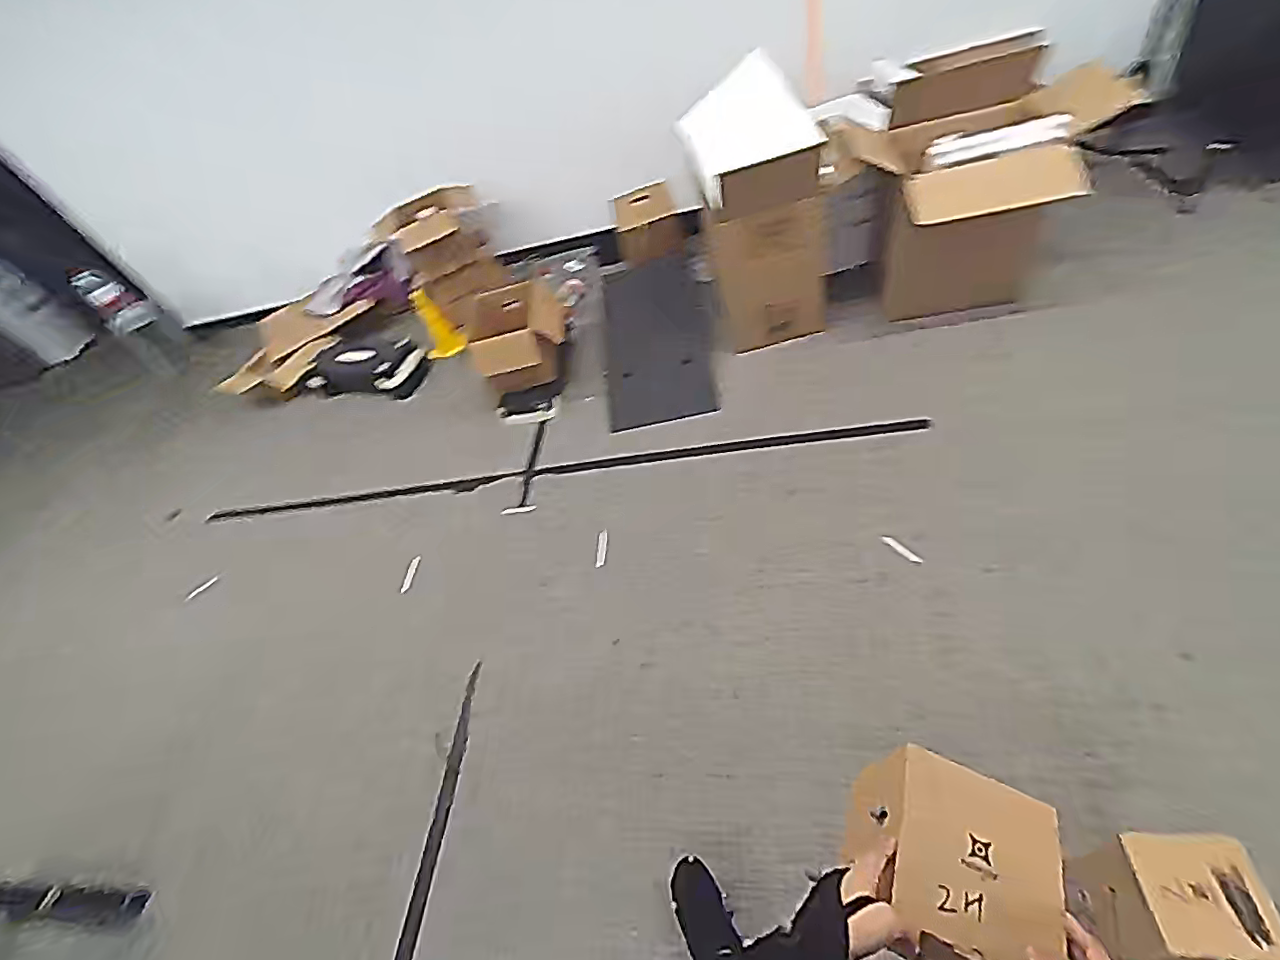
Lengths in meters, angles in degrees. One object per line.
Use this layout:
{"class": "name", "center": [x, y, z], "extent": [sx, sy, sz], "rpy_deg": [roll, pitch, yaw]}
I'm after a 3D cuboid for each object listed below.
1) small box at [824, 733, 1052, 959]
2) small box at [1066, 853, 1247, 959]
{"class": "small box", "center": [0.328, 0.433, 0.623], "extent": [0.168, 0.176, 0.179], "rpy_deg": [21, 50, 11]}
{"class": "small box", "center": [0.985, 0.836, 1.052], "extent": [0.179, 0.176, 0.168], "rpy_deg": [-8, 48, 12]}
